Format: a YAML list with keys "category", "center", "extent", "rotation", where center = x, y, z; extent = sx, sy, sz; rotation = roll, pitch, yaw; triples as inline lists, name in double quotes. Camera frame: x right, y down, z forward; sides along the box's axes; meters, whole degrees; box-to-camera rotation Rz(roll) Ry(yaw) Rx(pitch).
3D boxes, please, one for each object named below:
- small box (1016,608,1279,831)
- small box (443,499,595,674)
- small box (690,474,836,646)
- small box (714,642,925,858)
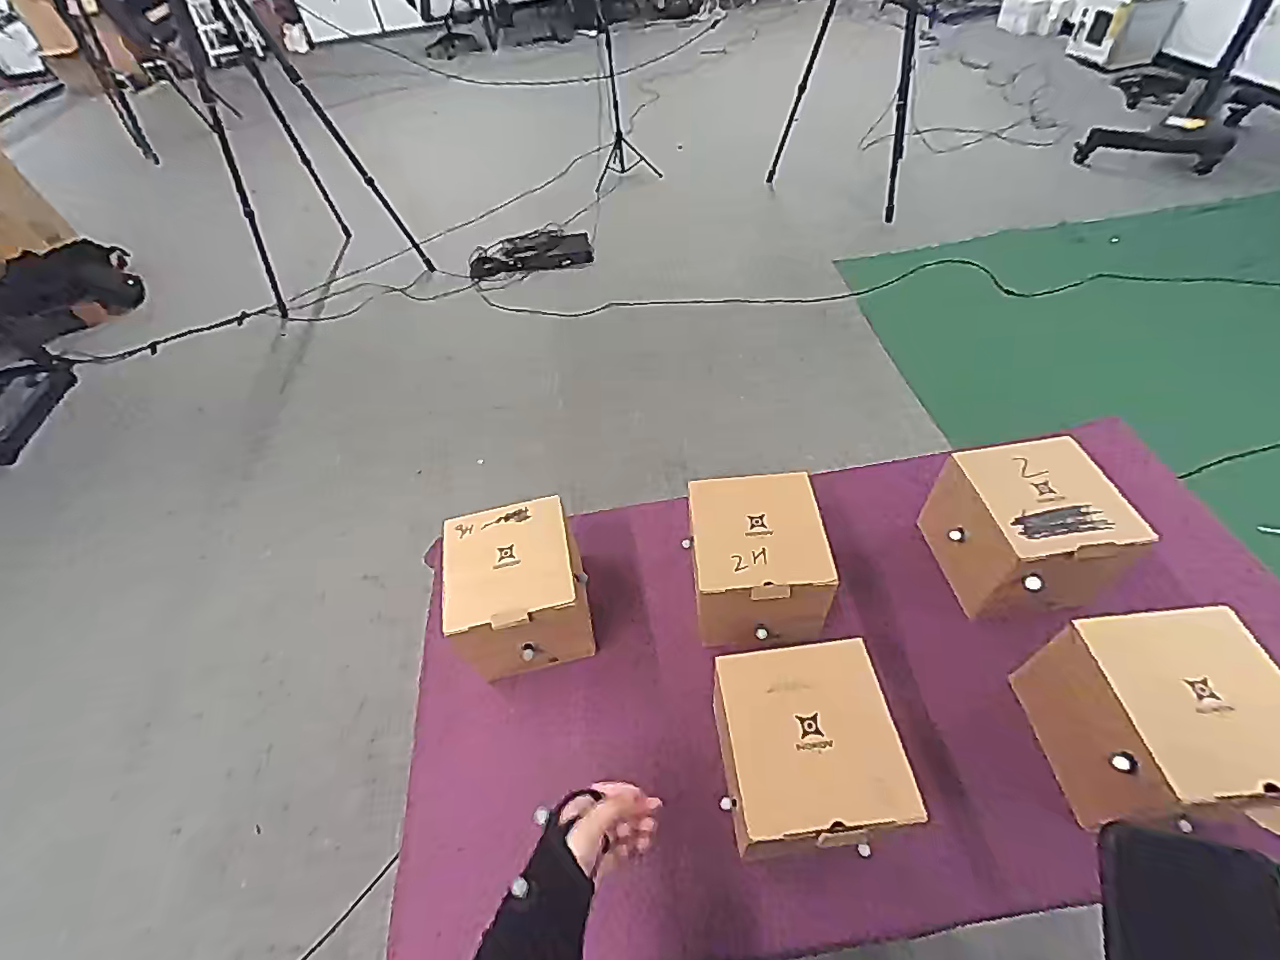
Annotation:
- category: "small box"
  center: [0.555, 0.260, 0.583]
  extent: [0.168, 0.176, 0.179]
  rotation: [-6, 51, 3]
- category: "small box"
  center: [-0.166, 0.158, 0.766]
  extent: [0.168, 0.176, 0.179]
  rotation: [-13, 51, -4]
- category: "small box"
  center: [0.158, 0.115, 0.757]
  extent: [0.168, 0.176, 0.179]
  rotation: [-5, 51, 4]
- category: "small box"
  center: [0.179, 0.304, 0.600]
  extent: [0.168, 0.176, 0.179]
  rotation: [-8, 49, 1]
